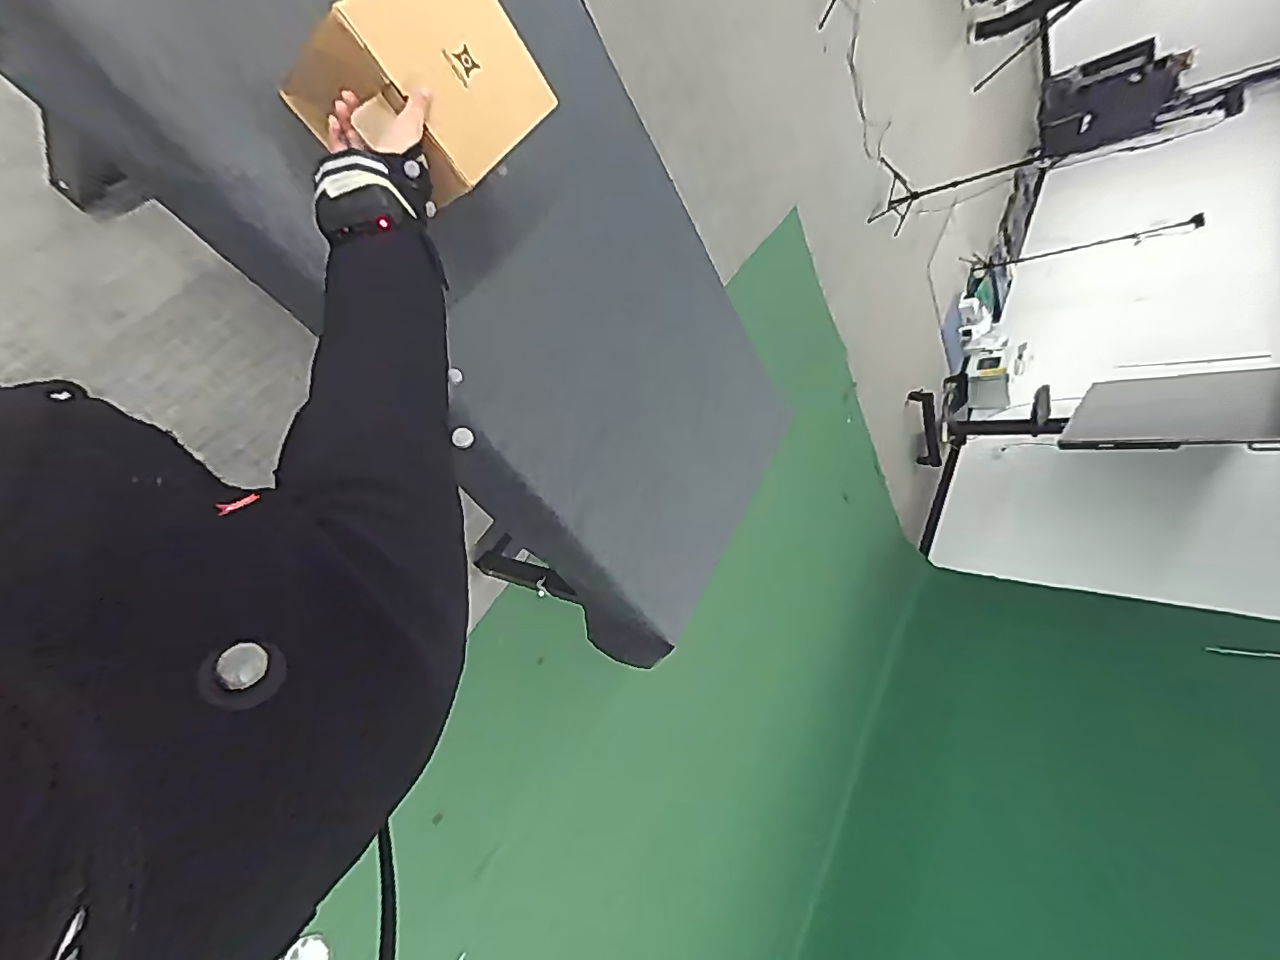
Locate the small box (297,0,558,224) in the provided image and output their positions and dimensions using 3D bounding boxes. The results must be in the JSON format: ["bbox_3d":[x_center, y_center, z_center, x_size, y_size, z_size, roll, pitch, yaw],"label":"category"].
[{"bbox_3d":[-0.231,-0.417,0.591,0.168,0.176,0.179,50,59,-37],"label":"small box"}]
